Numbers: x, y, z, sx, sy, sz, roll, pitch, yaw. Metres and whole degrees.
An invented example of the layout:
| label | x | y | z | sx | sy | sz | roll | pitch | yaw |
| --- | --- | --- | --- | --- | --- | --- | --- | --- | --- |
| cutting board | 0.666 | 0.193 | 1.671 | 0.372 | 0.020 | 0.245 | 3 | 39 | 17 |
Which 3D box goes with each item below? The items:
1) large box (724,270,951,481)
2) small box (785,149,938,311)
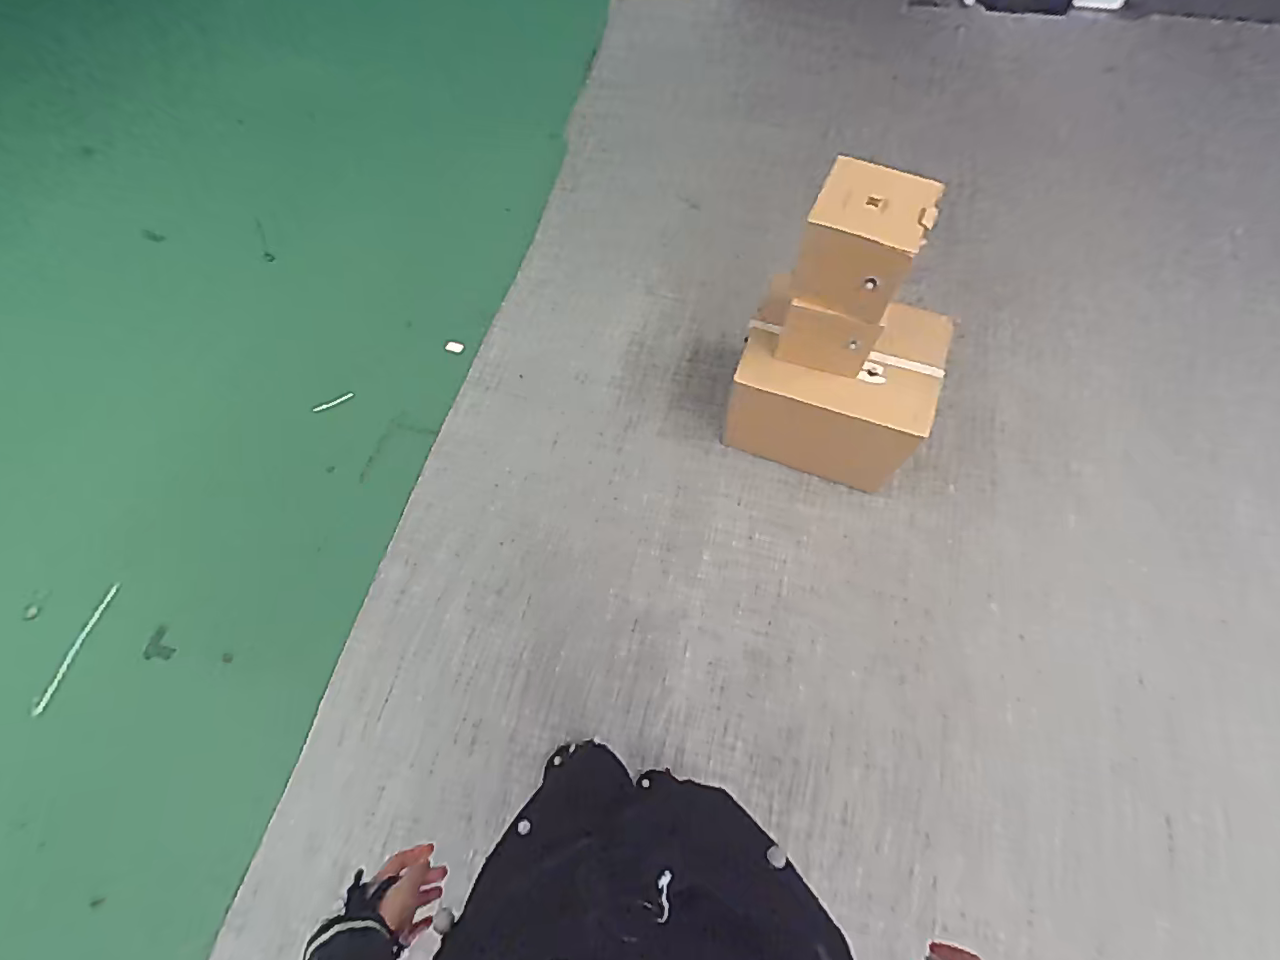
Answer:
| label | x | y | z | sx | sy | sz | roll | pitch | yaw |
| --- | --- | --- | --- | --- | --- | --- | --- | --- | --- |
| large box | 0.442 | -0.237 | 1.287 | 0.408 | 0.320 | 0.320 | 18 | 71 | 10 |
| small box | 0.369 | -0.419 | 0.926 | 0.179 | 0.176 | 0.168 | 22 | 70 | 13 |
